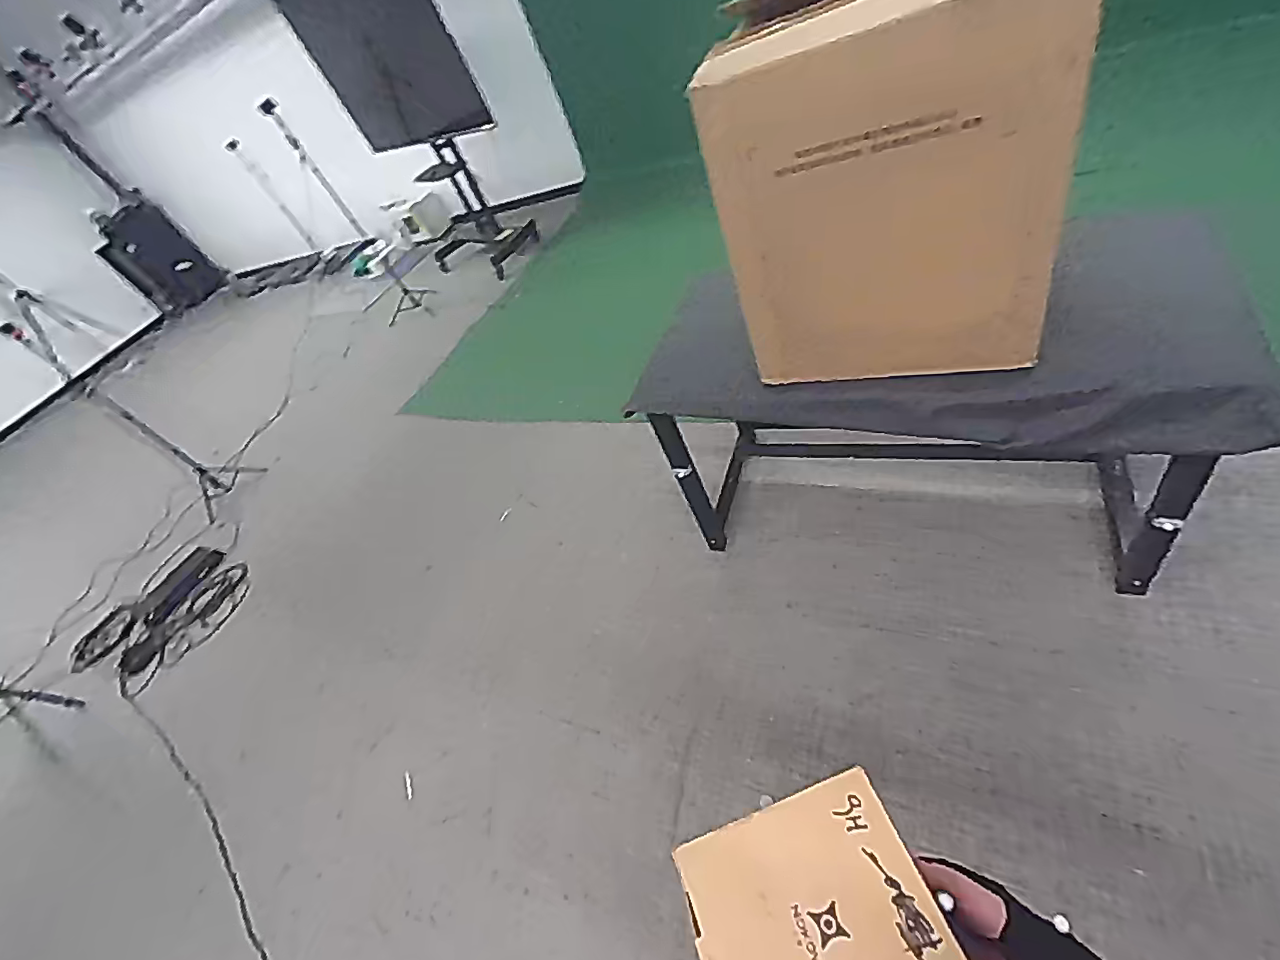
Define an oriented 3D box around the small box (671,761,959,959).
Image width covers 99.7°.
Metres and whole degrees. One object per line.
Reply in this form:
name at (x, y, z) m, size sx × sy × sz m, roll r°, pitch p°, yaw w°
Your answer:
small box at (0.148, 0.371, 0.470) m, size 0.179 × 0.176 × 0.168 m, roll -23°, pitch 53°, yaw 2°
